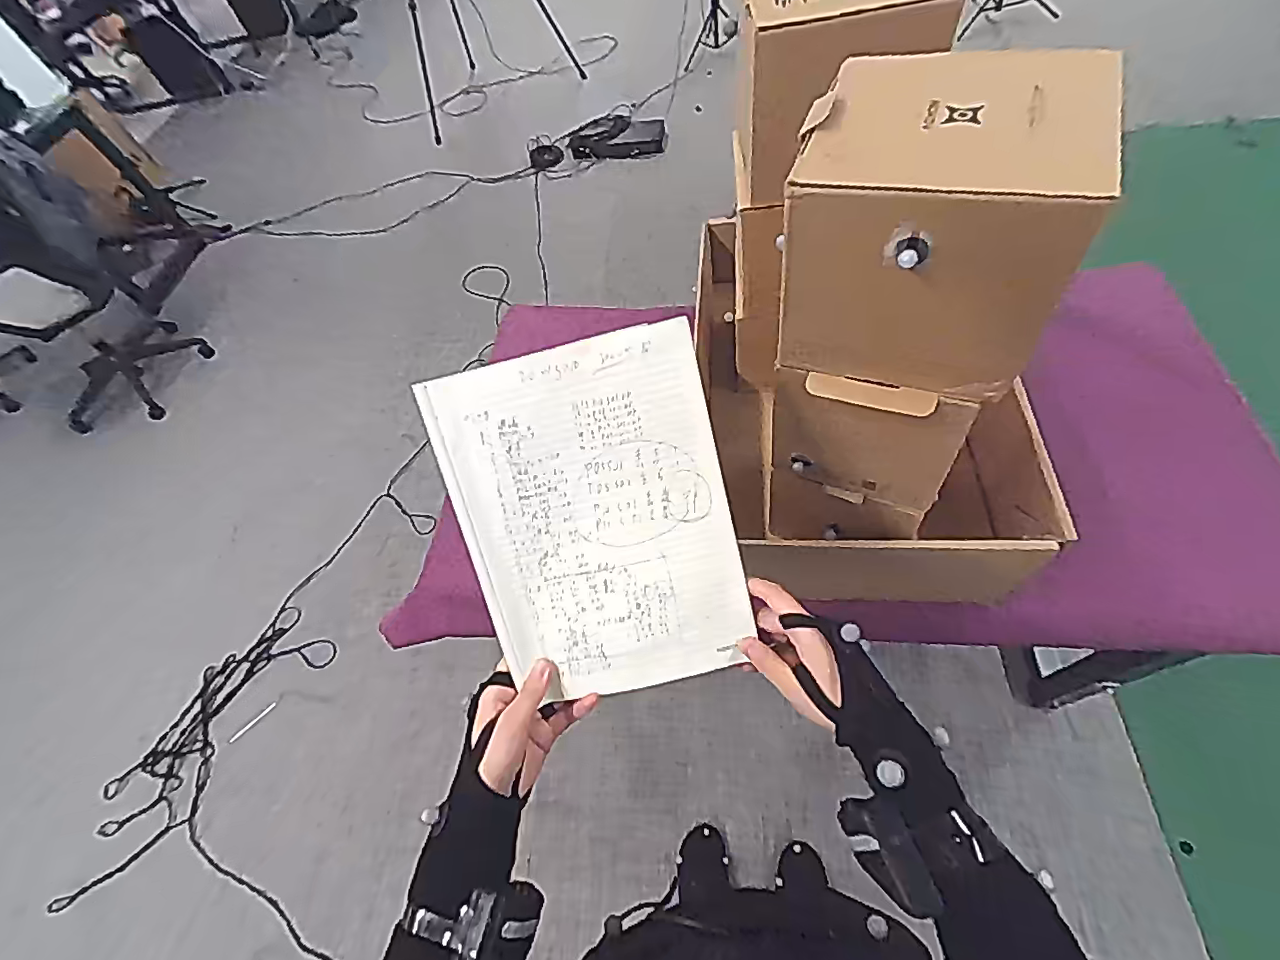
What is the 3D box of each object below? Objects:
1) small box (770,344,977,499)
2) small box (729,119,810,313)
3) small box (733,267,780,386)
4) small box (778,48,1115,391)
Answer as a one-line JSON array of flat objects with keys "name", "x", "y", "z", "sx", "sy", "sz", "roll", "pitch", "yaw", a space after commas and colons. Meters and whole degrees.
[{"name": "small box", "x": 0.240, "y": -0.106, "z": 0.548, "sx": 0.168, "sy": 0.176, "sz": 0.179, "roll": 17, "pitch": 62, "yaw": 23}, {"name": "small box", "x": 0.210, "y": -0.338, "z": 0.706, "sx": 0.179, "sy": 0.176, "sz": 0.168, "roll": -3, "pitch": 60, "yaw": 9}, {"name": "small box", "x": 0.233, "y": -0.259, "z": 0.845, "sx": 0.168, "sy": 0.176, "sz": 0.179, "roll": -1, "pitch": 60, "yaw": 11}, {"name": "small box", "x": 0.212, "y": -0.189, "z": 0.411, "sx": 0.179, "sy": 0.176, "sz": 0.168, "roll": 15, "pitch": 63, "yaw": 21}]
